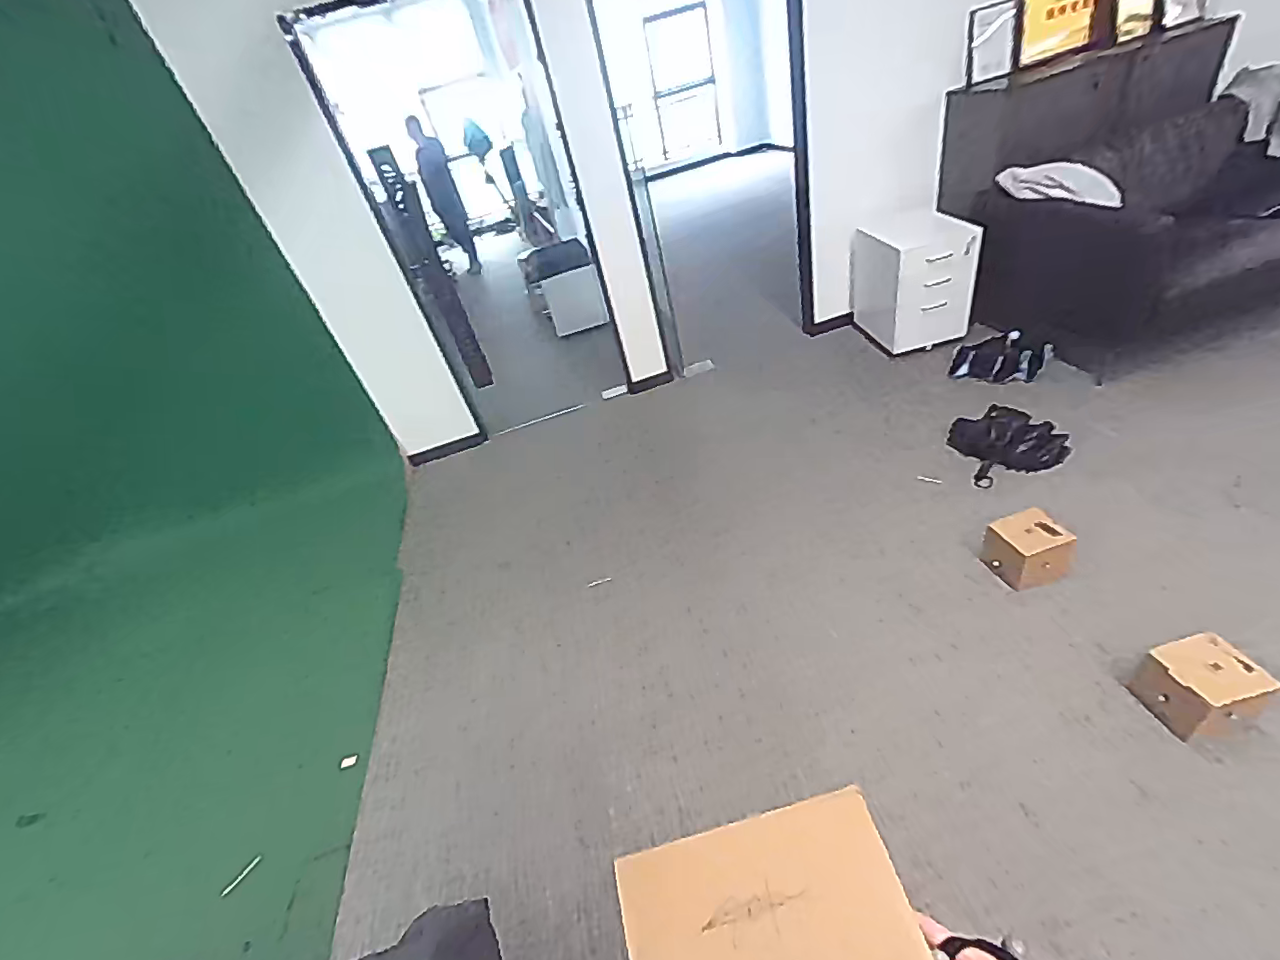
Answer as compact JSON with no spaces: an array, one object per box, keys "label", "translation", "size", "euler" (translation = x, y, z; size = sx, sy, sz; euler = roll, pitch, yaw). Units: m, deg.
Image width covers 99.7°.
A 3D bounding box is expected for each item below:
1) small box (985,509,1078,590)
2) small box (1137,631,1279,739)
[{"label":"small box","translation":[1.266,0.228,1.763],"size":[0.179,0.176,0.168],"euler":[-20,36,-2]},{"label":"small box","translation":[1.394,0.512,1.342],"size":[0.179,0.176,0.168],"euler":[-18,36,0]}]
